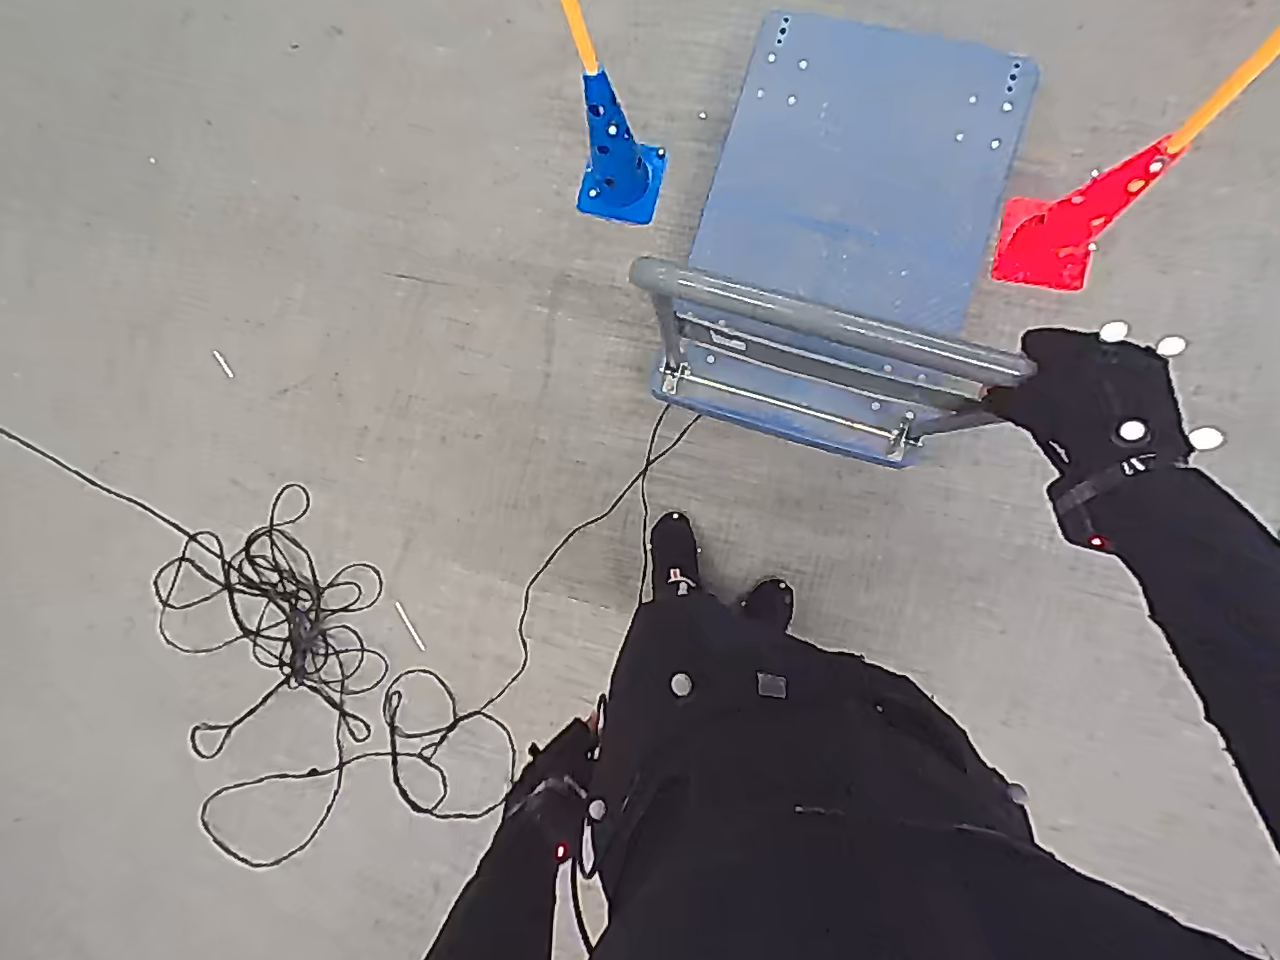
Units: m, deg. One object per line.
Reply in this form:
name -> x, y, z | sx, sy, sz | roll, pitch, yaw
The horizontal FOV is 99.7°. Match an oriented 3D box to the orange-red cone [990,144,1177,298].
orange-red cone -> 0.909, -0.539, 1.086 | 0.199, 0.360, 0.198 | 14, 89, 9
